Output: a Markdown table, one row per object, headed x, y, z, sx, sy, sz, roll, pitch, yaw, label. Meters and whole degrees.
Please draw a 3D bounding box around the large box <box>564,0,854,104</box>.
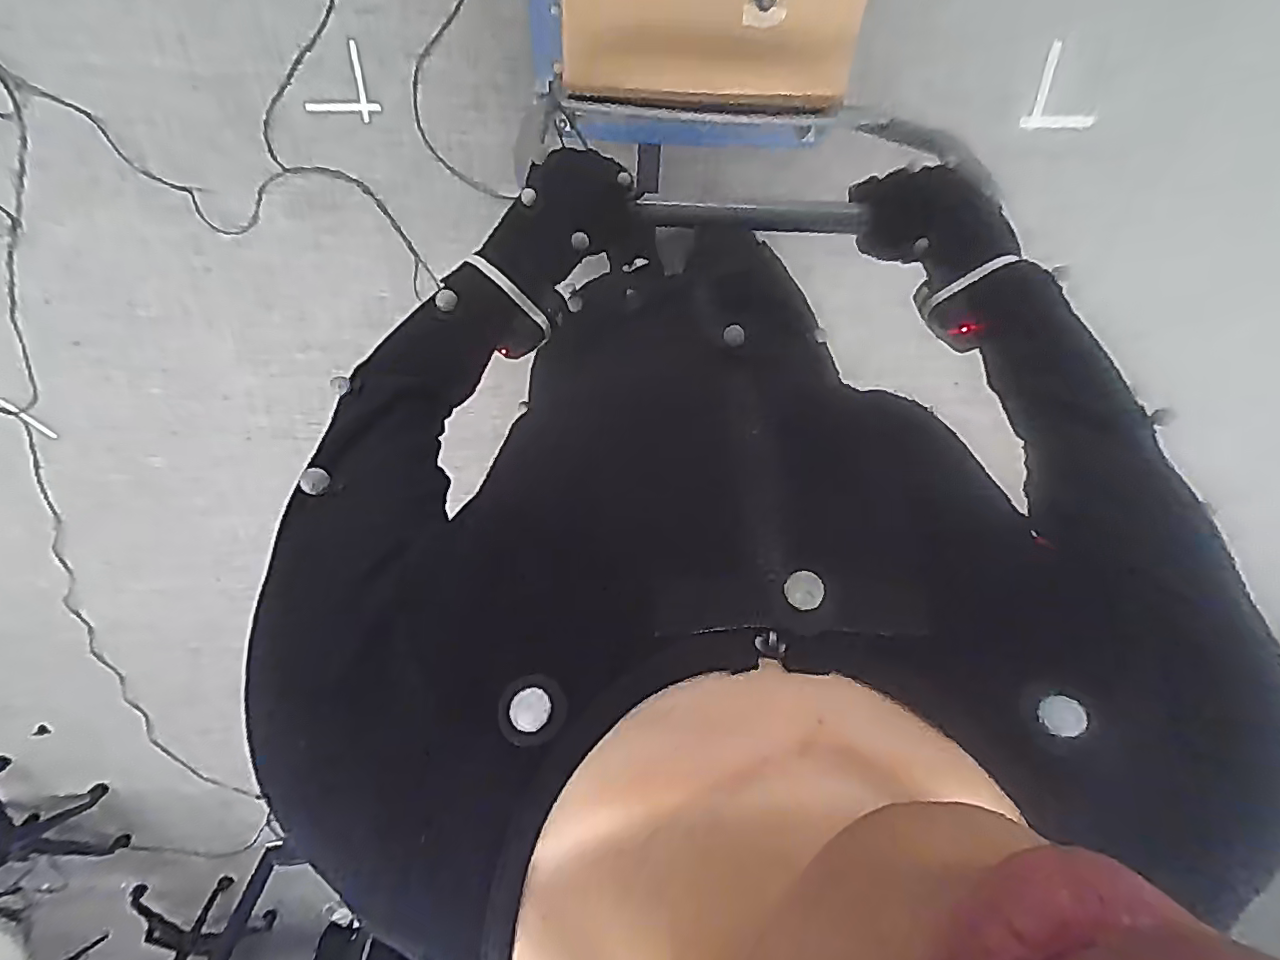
| x | y | z | sx | sy | sz | roll | pitch | yaw | label |
| --- | --- | --- | --- | --- | --- | --- | --- | --- | --- |
| 0.085 | -0.769 | 0.826 | 0.408 | 0.320 | 0.320 | -1 | 125 | -5 | large box |
